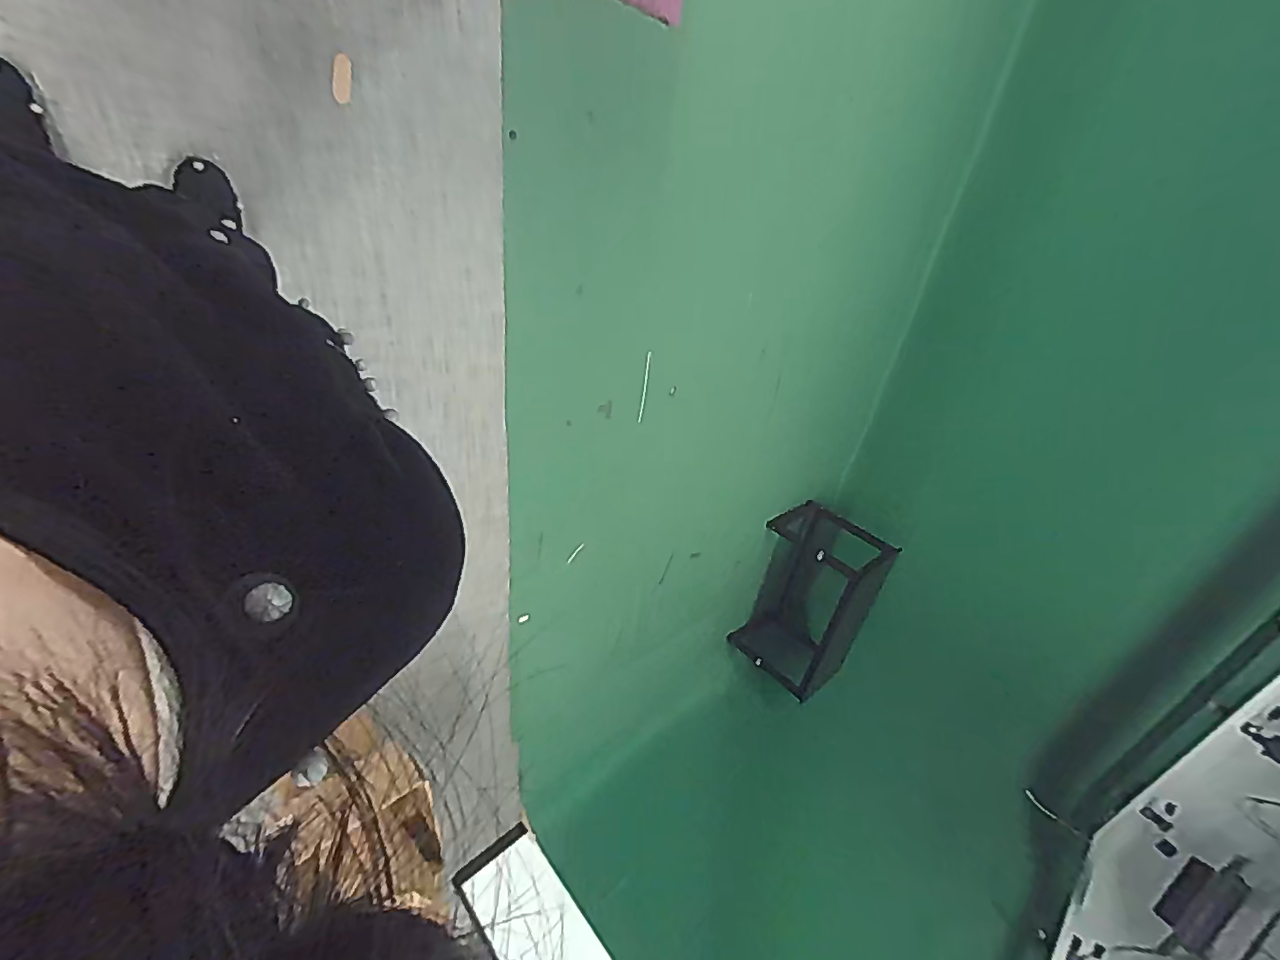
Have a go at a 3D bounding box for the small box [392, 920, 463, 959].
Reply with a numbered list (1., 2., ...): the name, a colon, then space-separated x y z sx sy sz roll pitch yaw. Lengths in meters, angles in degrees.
1. small box: -0.620 1.473 1.611 0.168 0.176 0.179 -26 134 -36

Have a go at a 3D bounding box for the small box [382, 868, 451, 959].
1. small box: -0.727 1.388 1.705 0.179 0.176 0.168 -28 135 -35

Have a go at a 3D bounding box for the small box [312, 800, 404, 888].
1. small box: -0.850 1.108 1.628 0.168 0.176 0.179 -33 139 -27

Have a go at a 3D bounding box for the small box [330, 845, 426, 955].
1. small box: -0.742 1.181 1.530 0.168 0.176 0.179 -33 139 -27
